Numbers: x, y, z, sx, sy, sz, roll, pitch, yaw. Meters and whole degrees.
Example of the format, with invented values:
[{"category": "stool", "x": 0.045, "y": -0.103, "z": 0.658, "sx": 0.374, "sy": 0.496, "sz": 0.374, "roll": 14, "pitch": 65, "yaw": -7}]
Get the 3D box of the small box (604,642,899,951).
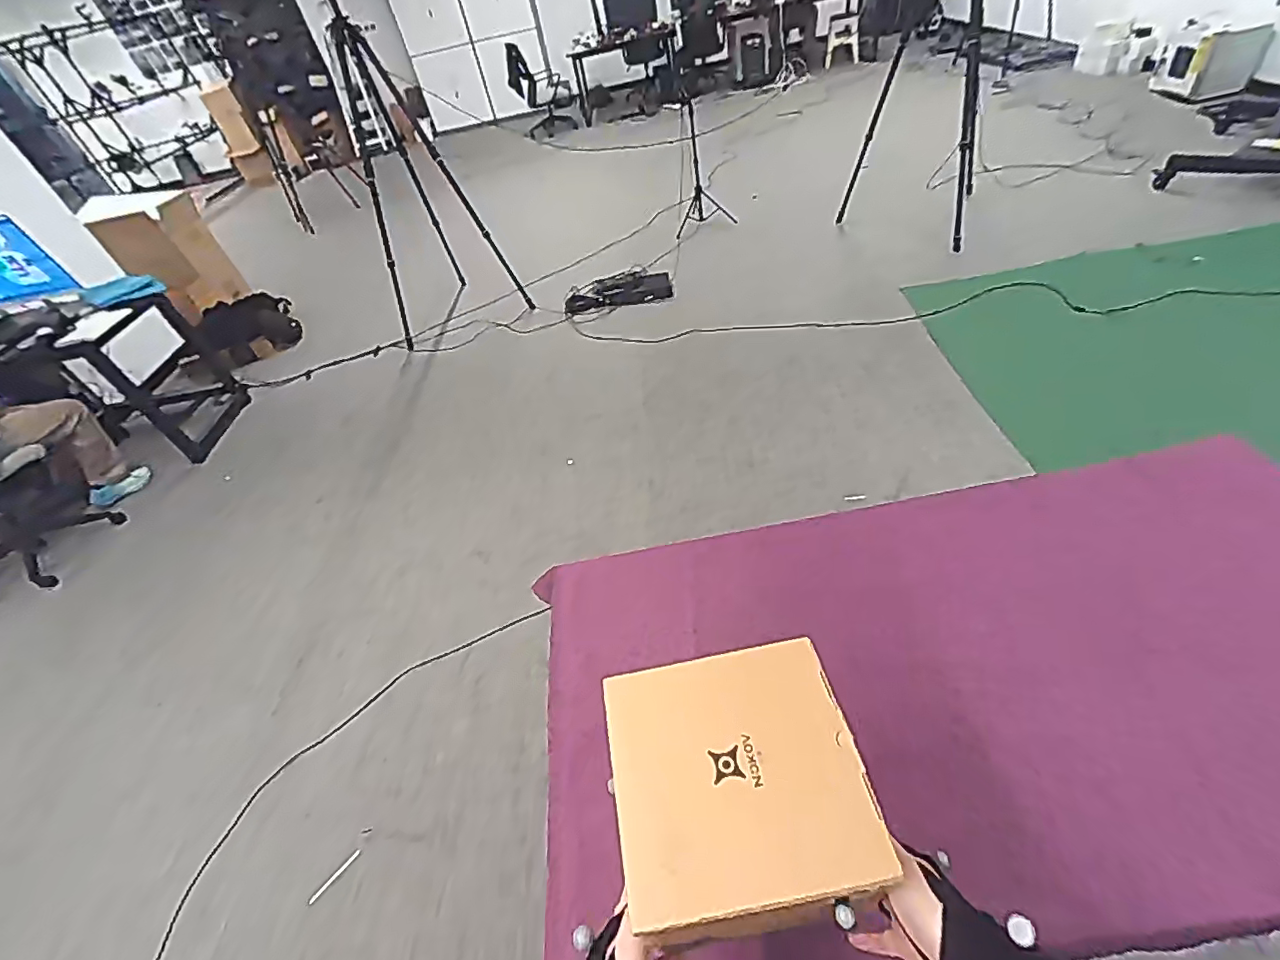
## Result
[{"category": "small box", "x": 0.077, "y": 0.262, "z": 0.444, "sx": 0.179, "sy": 0.176, "sz": 0.168, "roll": -11, "pitch": 46, "yaw": -1}]
